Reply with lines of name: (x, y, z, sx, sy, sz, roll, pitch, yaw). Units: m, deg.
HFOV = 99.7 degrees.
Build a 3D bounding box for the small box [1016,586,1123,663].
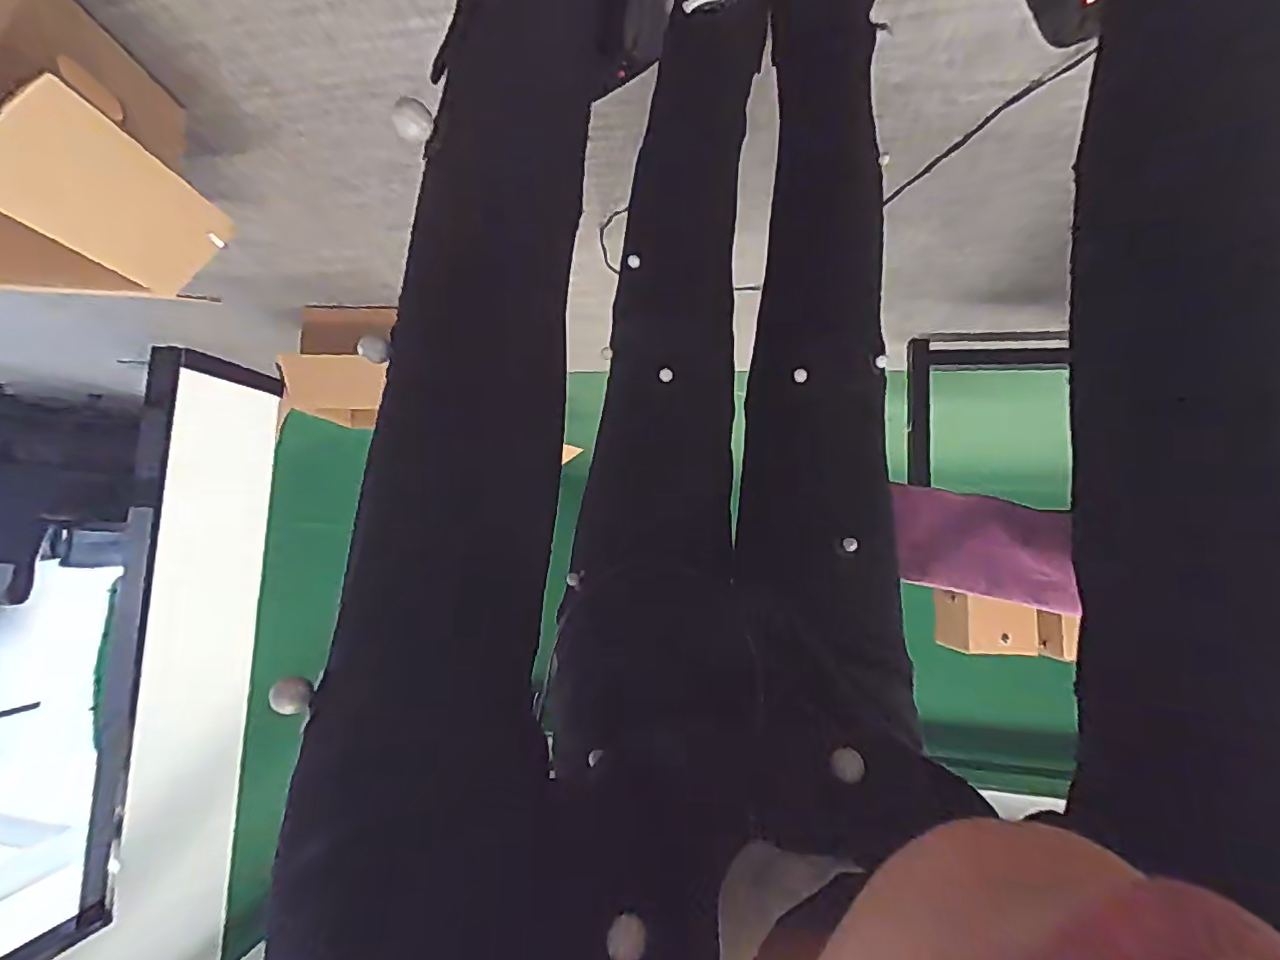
small box: (1.124, 0.374, 1.415, 0.179, 0.176, 0.168, 2, 174, 3)
